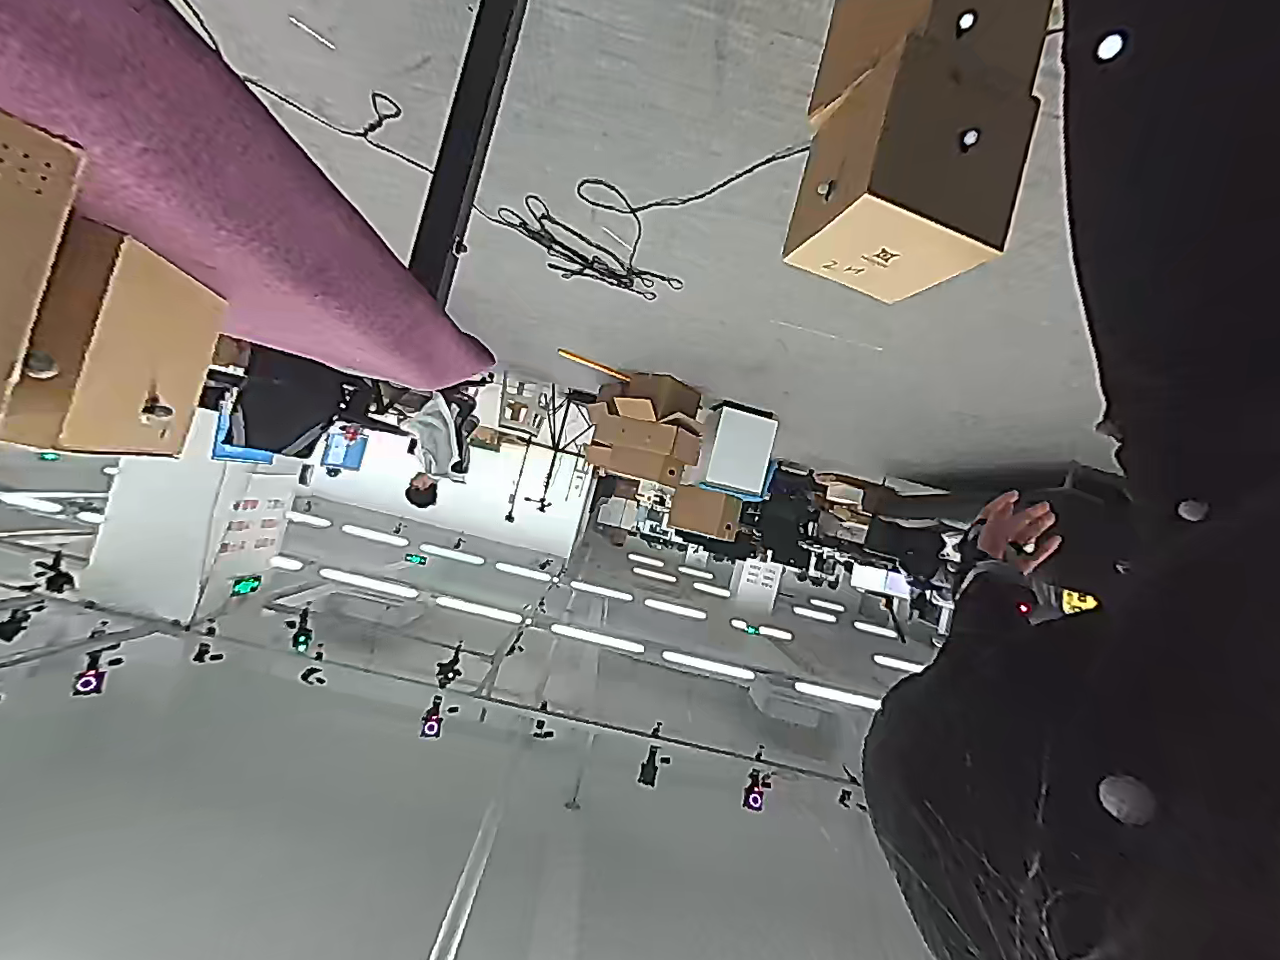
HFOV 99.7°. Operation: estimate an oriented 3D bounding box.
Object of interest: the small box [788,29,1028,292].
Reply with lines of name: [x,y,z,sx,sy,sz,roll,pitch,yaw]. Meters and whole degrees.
small box: [0.295,-0.342,0.609,0.168,0.176,0.179,15,179,-12]
